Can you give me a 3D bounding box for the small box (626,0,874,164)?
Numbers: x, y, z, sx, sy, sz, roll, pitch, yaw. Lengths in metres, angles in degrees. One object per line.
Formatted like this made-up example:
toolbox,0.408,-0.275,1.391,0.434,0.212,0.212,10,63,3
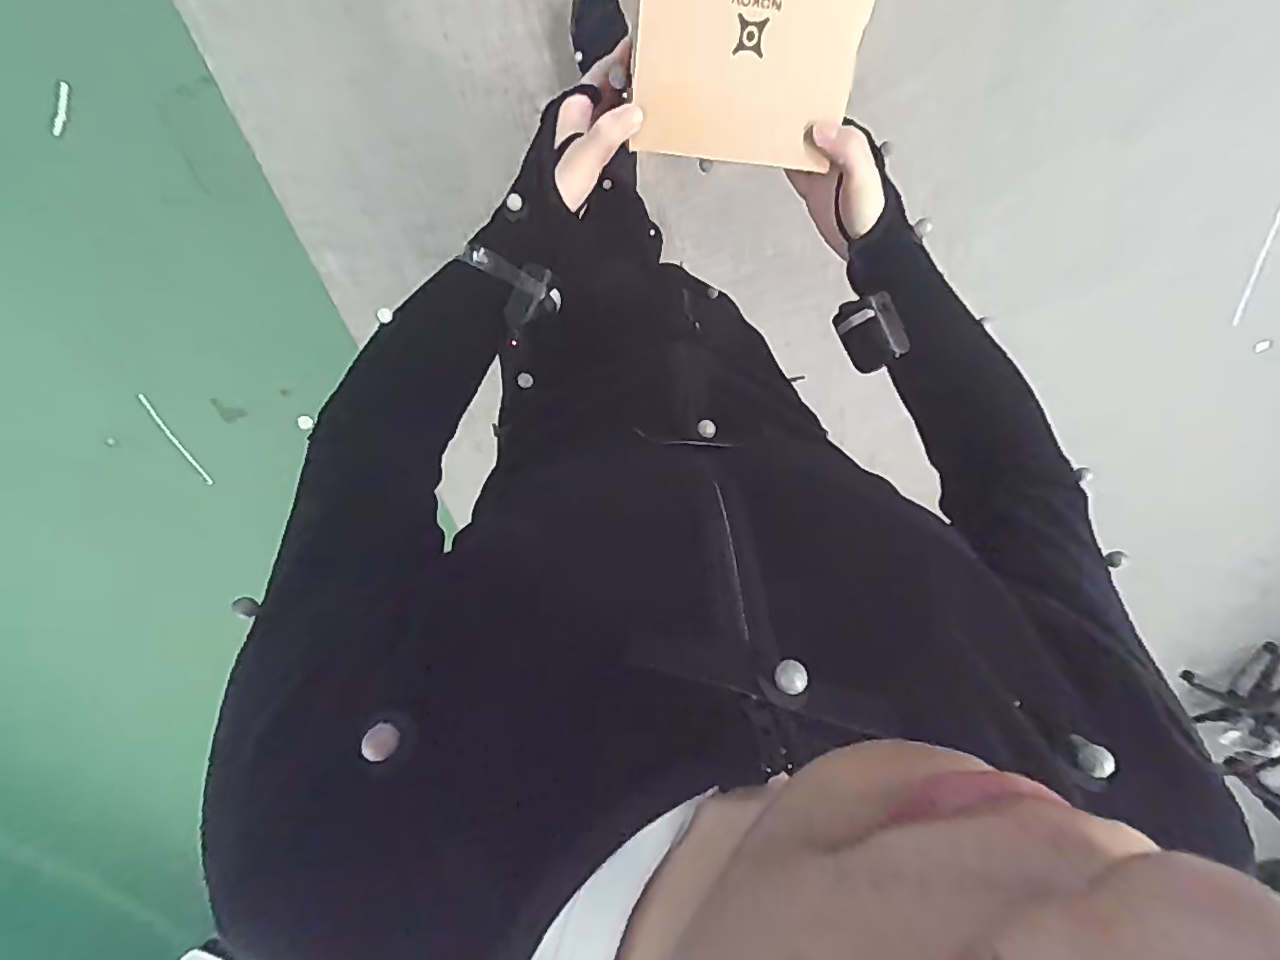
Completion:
small box,0.079,-0.379,0.445,0.168,0.176,0.179,3,125,-7
